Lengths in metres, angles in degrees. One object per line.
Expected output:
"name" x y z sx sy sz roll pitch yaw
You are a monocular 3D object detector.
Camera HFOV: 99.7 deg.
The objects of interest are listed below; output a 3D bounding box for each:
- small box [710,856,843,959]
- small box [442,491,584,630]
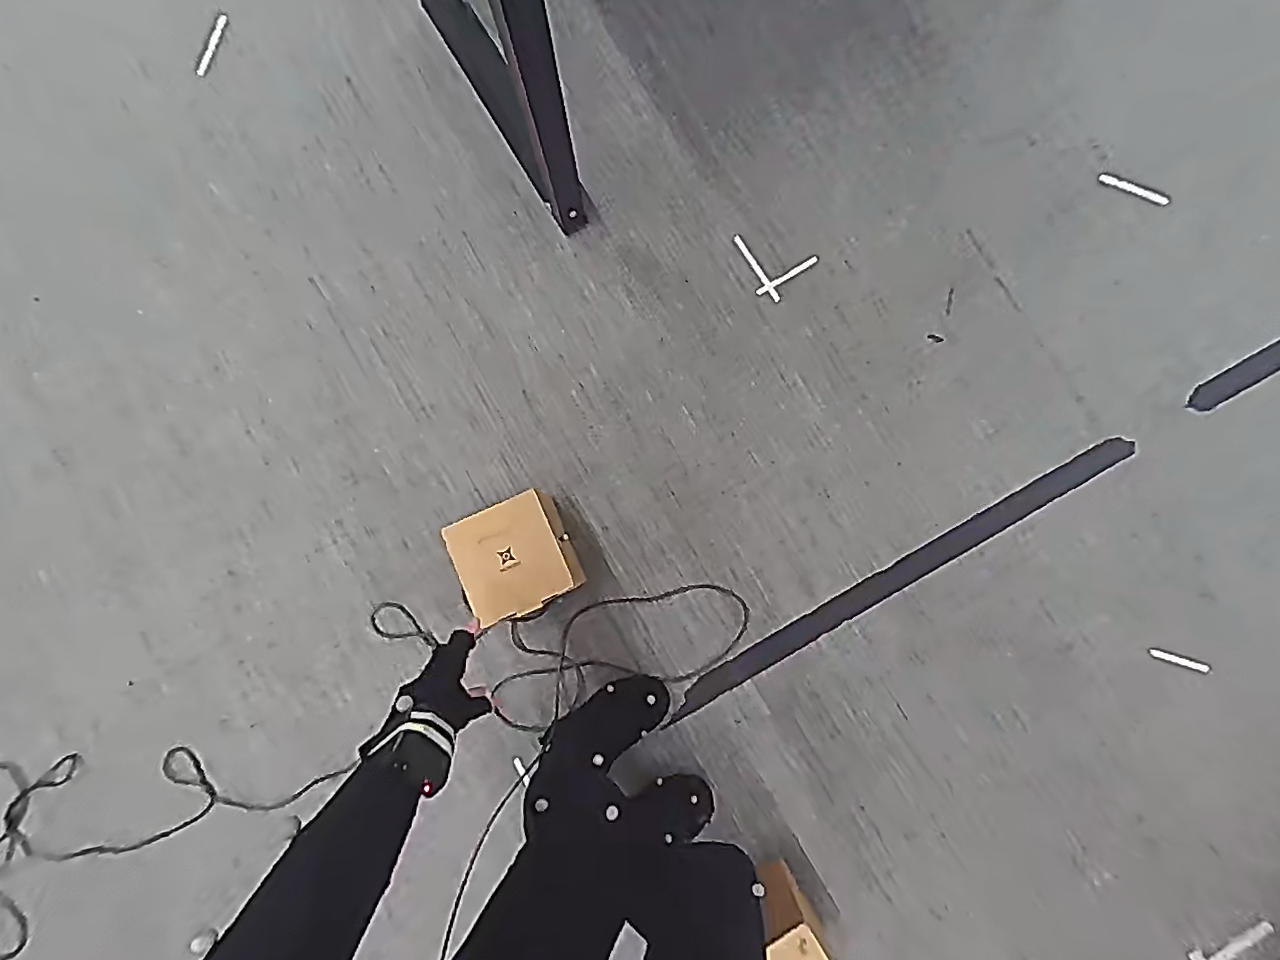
"small box" 0.228 0.779 0.889 0.179 0.176 0.168 -32 87 -1
"small box" -0.208 0.135 0.938 0.168 0.176 0.179 -25 83 -3
